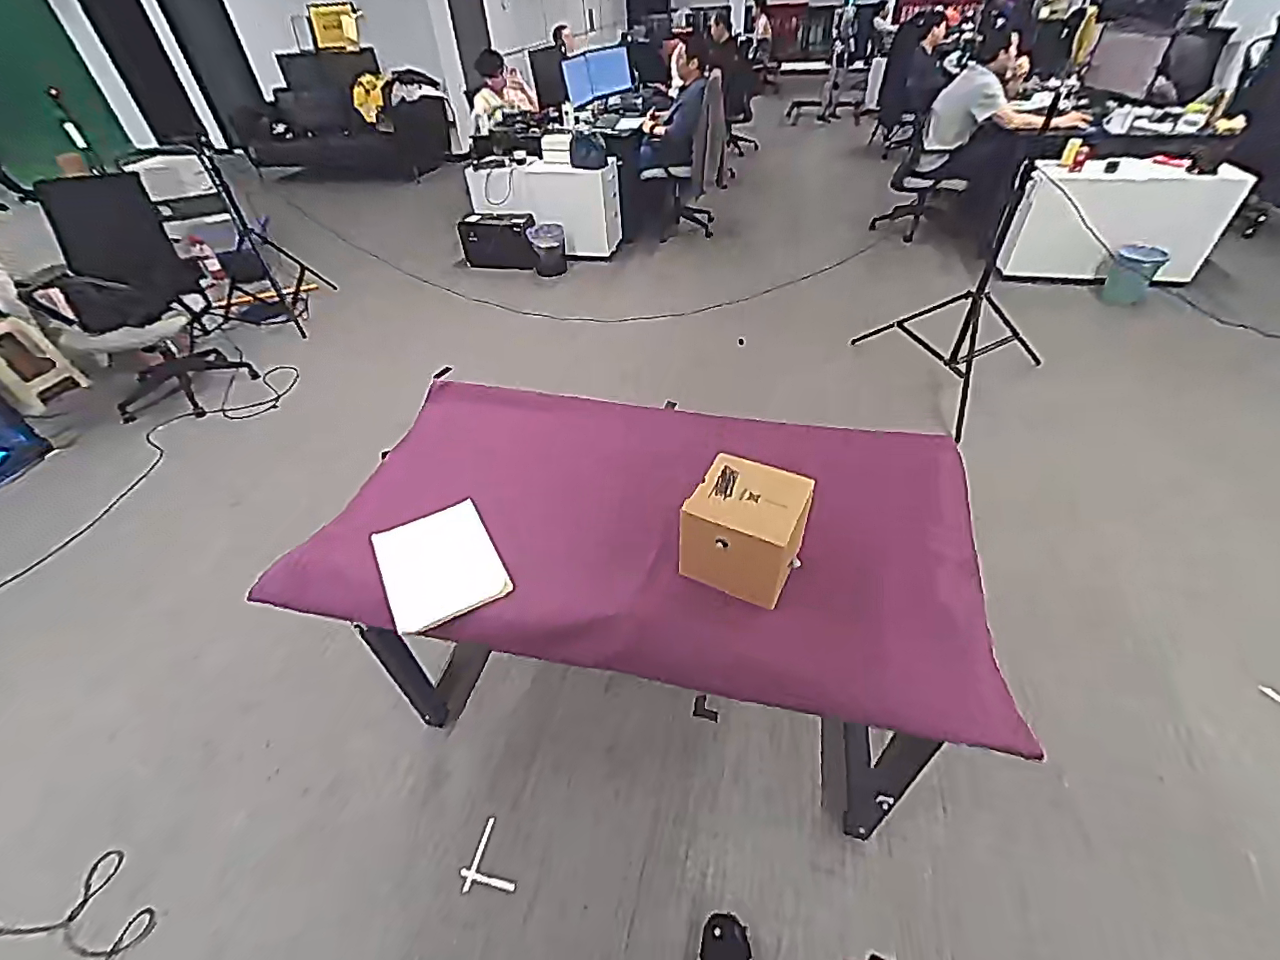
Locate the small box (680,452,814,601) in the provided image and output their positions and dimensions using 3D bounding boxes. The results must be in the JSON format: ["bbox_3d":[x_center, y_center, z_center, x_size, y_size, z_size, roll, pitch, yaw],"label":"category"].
[{"bbox_3d":[0.180,0.081,0.937,0.179,0.176,0.168,19,46,23],"label":"small box"}]
